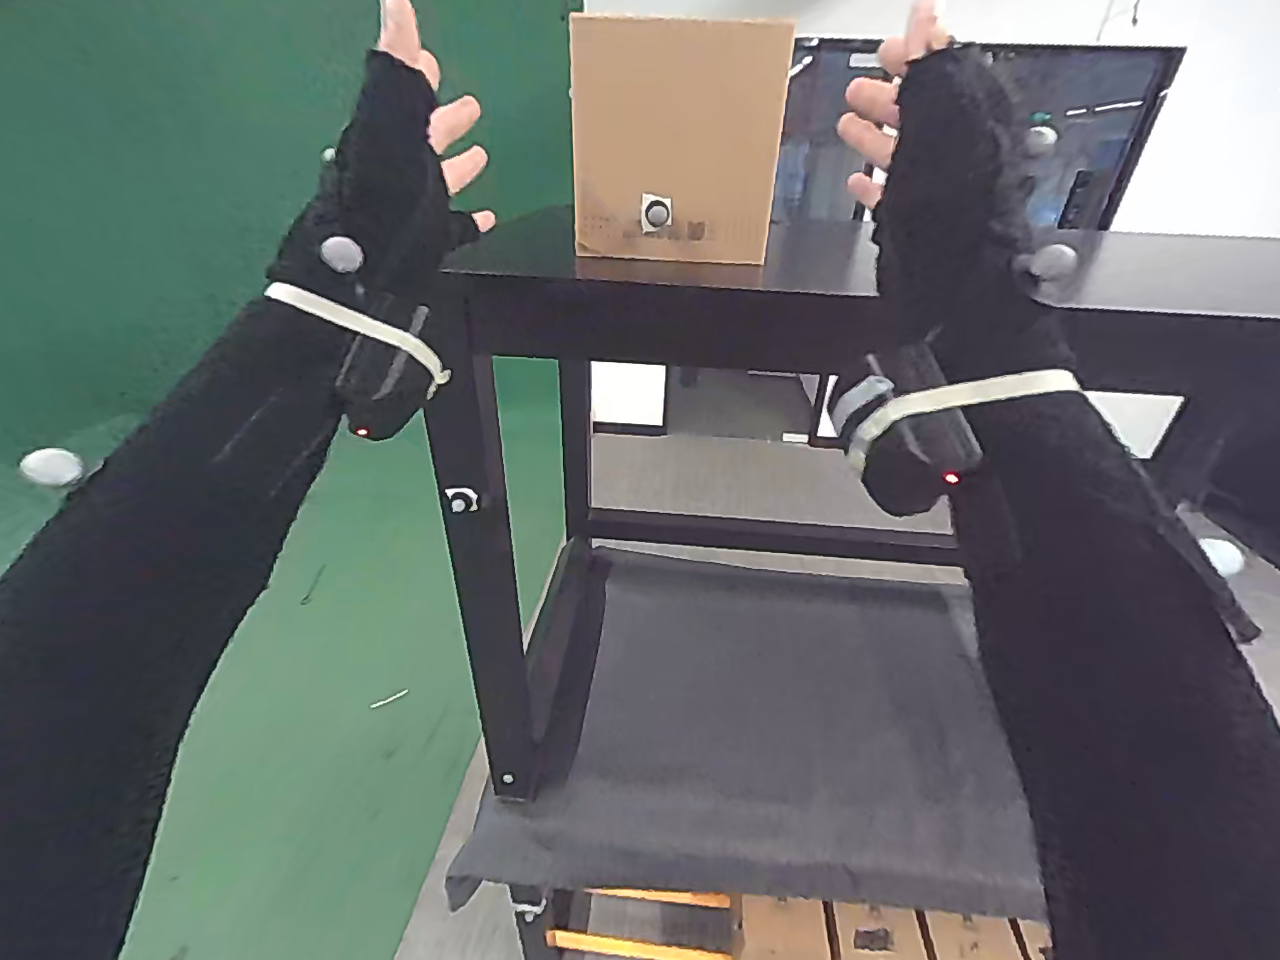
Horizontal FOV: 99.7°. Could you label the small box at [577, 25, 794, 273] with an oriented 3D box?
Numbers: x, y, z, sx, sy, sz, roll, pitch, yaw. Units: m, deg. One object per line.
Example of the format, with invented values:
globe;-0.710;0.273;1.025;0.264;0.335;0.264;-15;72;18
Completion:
small box;0.033;-0.301;0.512;0.168;0.176;0.179;2;30;1
